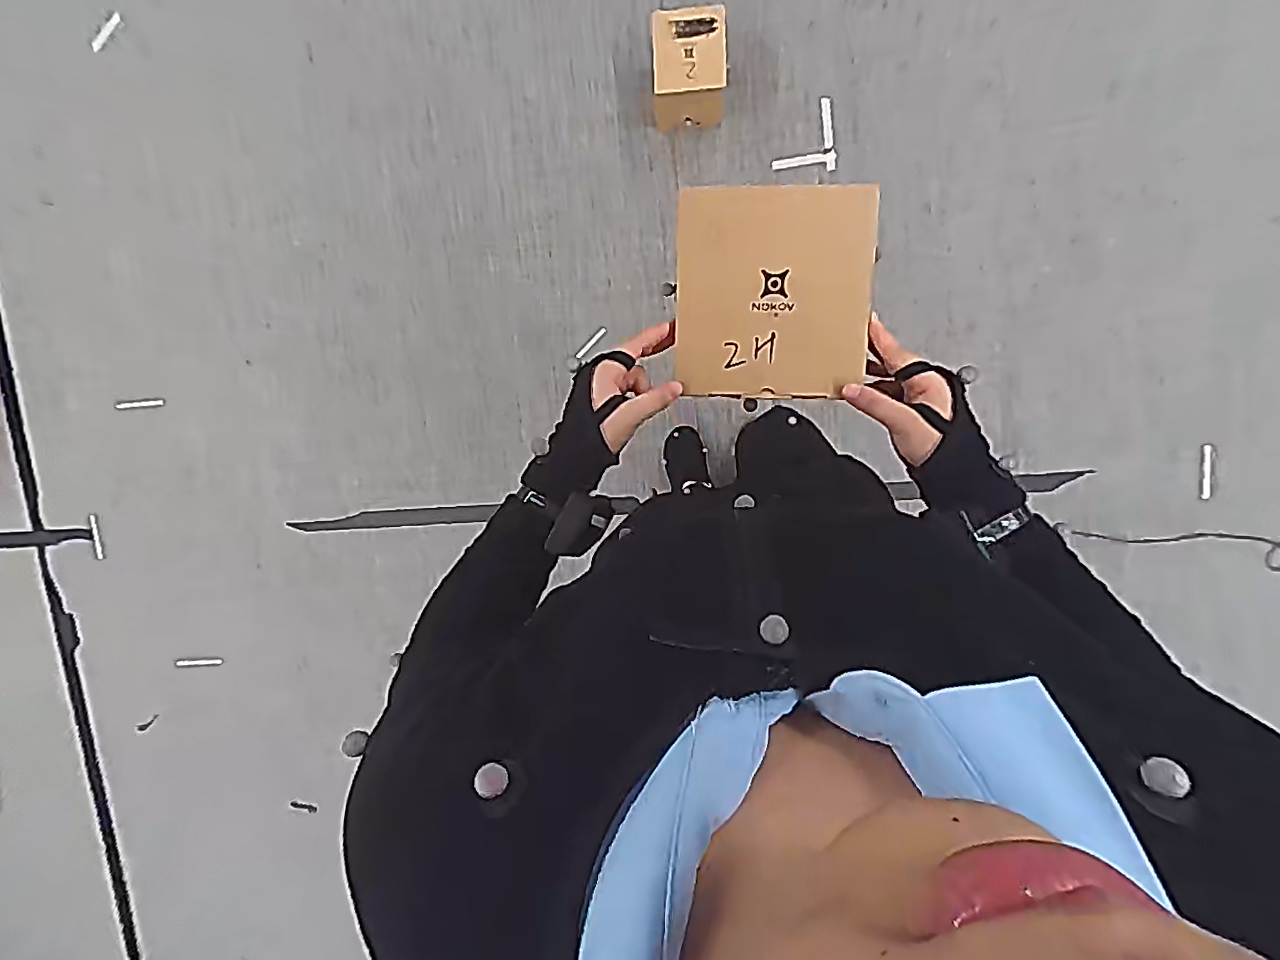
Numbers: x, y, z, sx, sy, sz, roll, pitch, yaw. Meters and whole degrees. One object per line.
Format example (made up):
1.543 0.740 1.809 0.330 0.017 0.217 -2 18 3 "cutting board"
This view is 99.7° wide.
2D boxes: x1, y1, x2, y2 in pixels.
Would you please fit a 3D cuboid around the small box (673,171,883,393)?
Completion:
0.118 -0.178 0.531 0.168 0.176 0.179 2 100 5 "small box"
